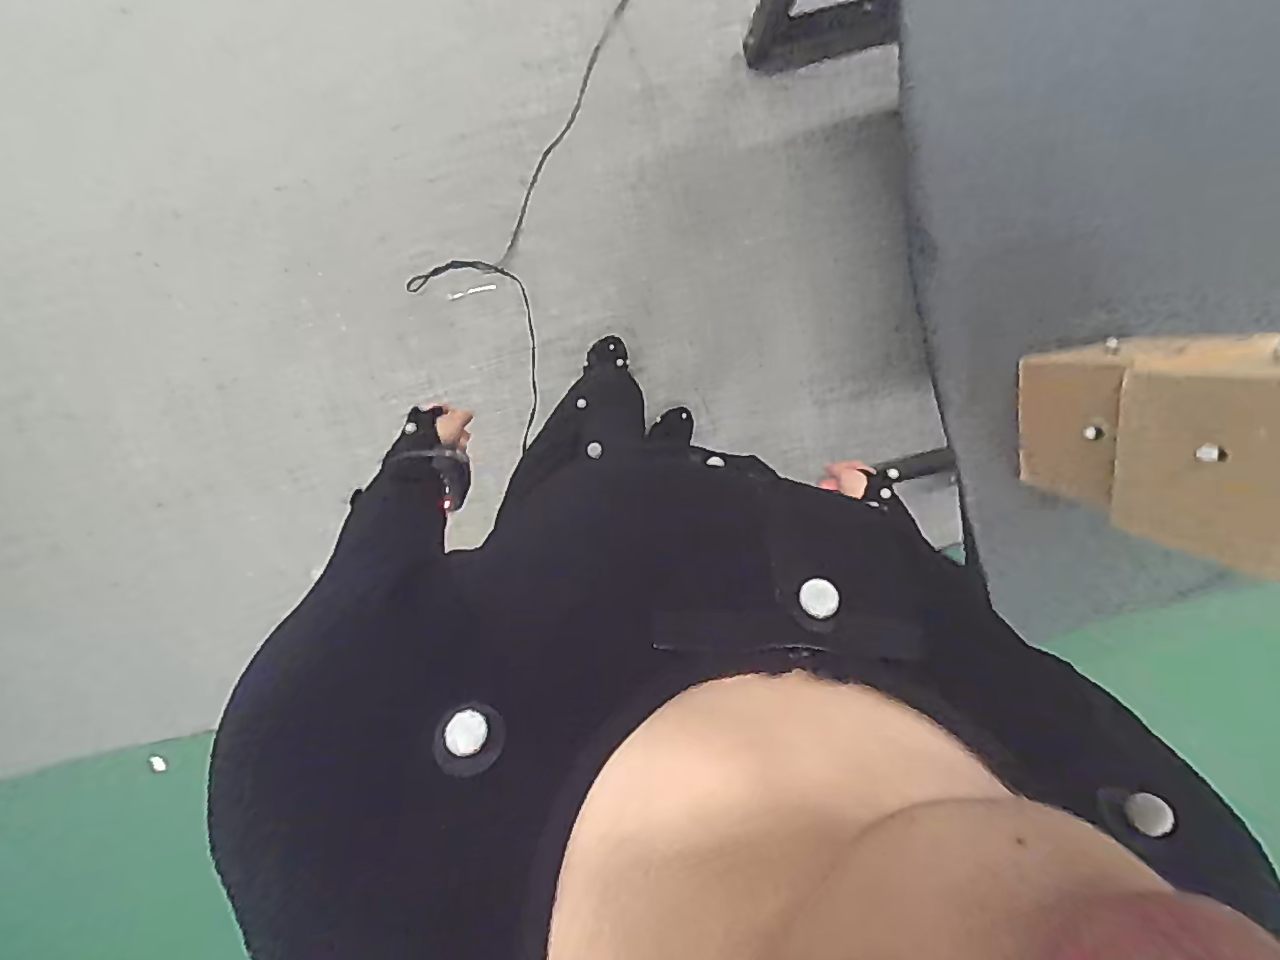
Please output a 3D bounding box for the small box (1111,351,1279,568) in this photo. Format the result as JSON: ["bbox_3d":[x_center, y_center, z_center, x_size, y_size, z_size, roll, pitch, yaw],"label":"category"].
[{"bbox_3d":[0.593,-0.029,0.505,0.168,0.176,0.179,-7,102,-2],"label":"small box"}]

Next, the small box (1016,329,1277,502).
[{"bbox_3d":[0.597,-0.079,0.662,0.168,0.176,0.179,-10,103,-1],"label":"small box"}]
